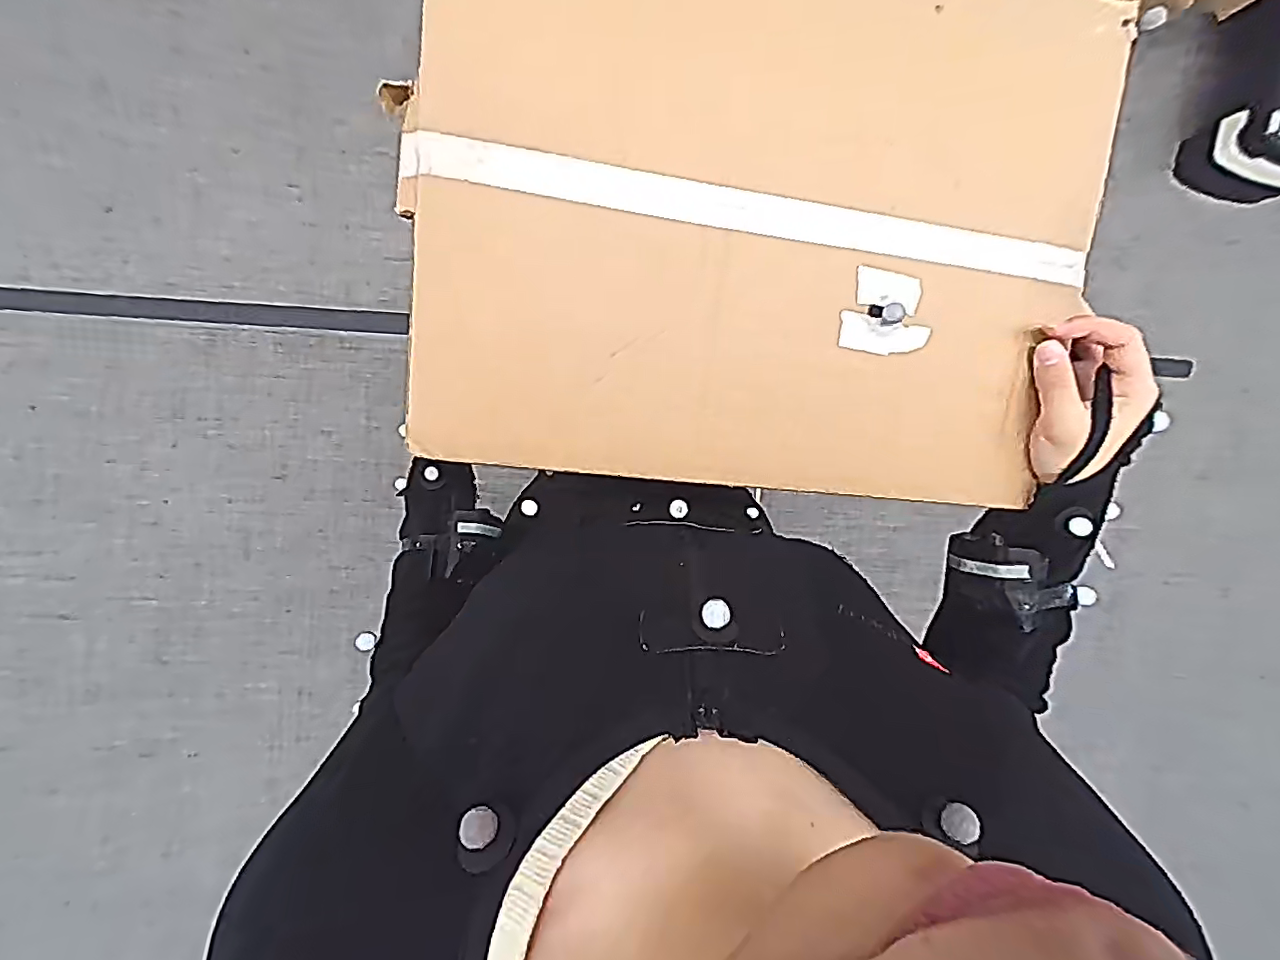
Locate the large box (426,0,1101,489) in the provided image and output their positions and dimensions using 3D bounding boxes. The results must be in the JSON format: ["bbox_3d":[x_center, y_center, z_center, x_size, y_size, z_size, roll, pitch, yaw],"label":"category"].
[{"bbox_3d":[0.056,-0.178,0.466,0.408,0.320,0.320,5,99,-12],"label":"large box"}]
